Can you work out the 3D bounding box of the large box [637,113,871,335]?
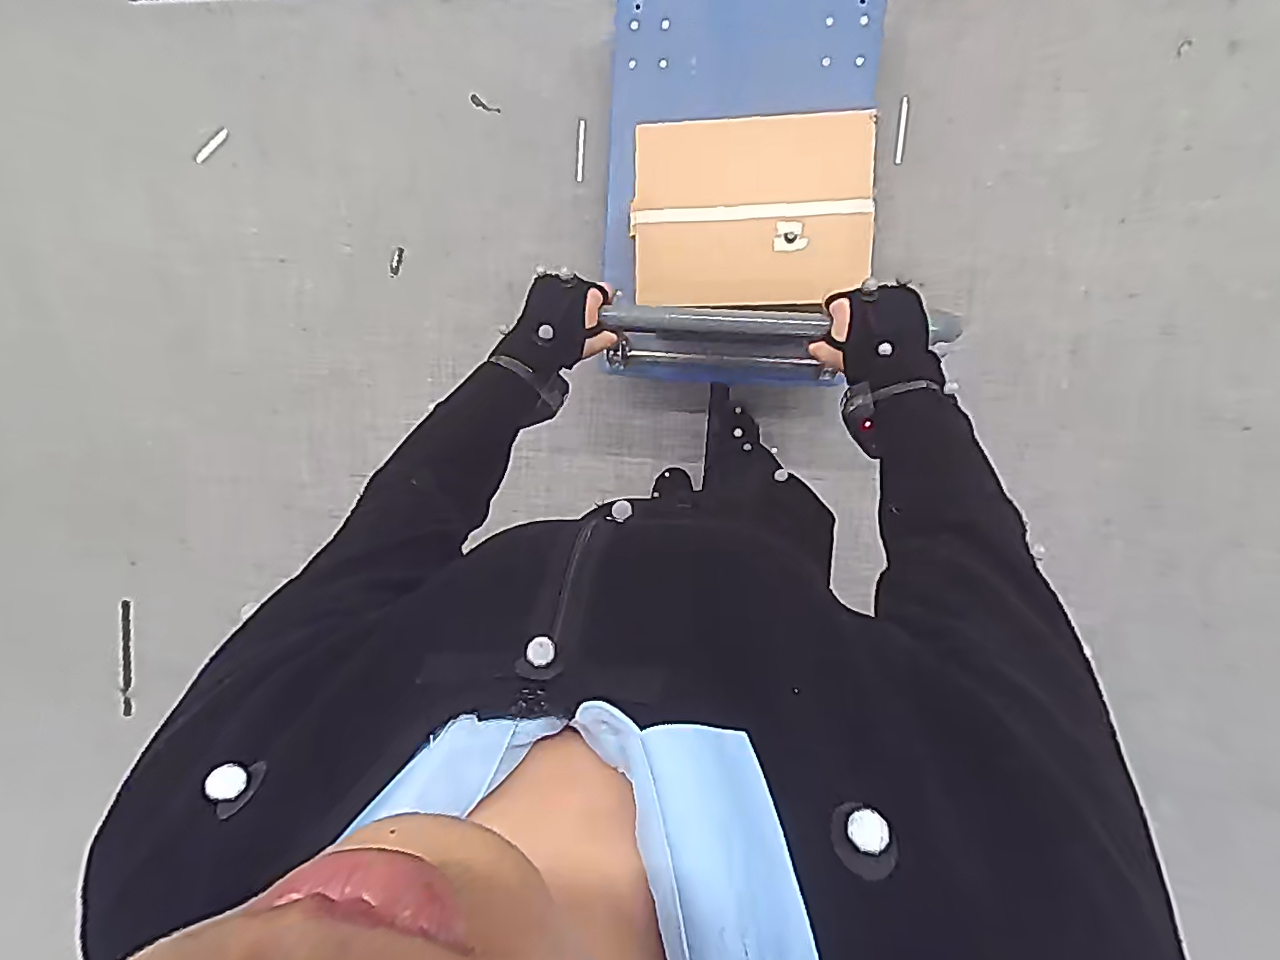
[{"bbox_3d":[0.208,-0.482,1.094,0.408,0.320,0.320,0,96,6],"label":"large box"}]
